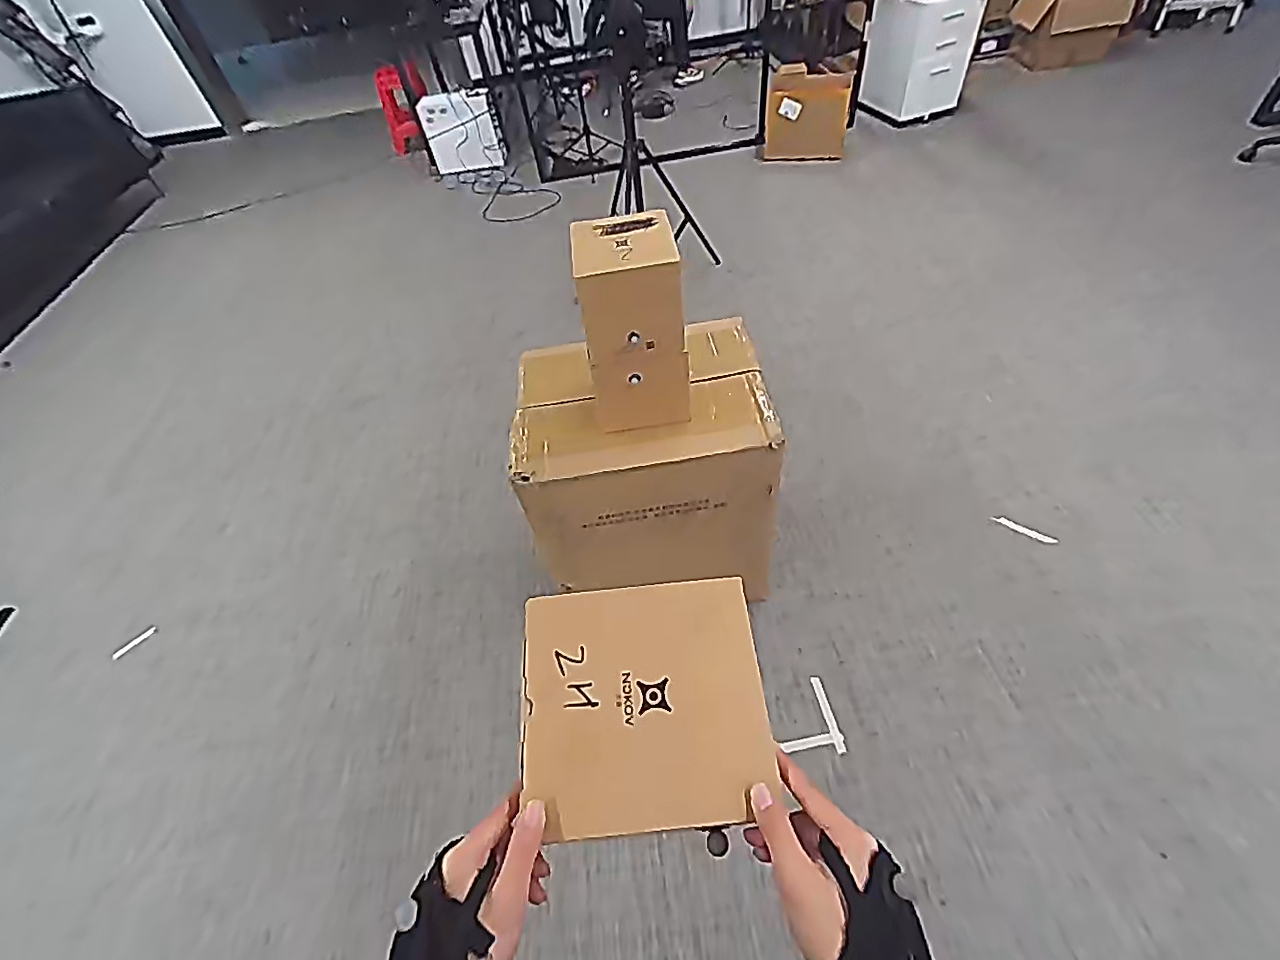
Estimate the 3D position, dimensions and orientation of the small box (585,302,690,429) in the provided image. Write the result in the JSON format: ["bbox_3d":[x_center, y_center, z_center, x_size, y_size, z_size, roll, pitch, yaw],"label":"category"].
[{"bbox_3d":[-0.004,-0.217,1.049,0.179,0.176,0.168,-9,50,1],"label":"small box"}]

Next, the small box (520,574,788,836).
[{"bbox_3d":[0.008,0.193,0.455,0.179,0.176,0.168,-6,57,1],"label":"small box"}]
